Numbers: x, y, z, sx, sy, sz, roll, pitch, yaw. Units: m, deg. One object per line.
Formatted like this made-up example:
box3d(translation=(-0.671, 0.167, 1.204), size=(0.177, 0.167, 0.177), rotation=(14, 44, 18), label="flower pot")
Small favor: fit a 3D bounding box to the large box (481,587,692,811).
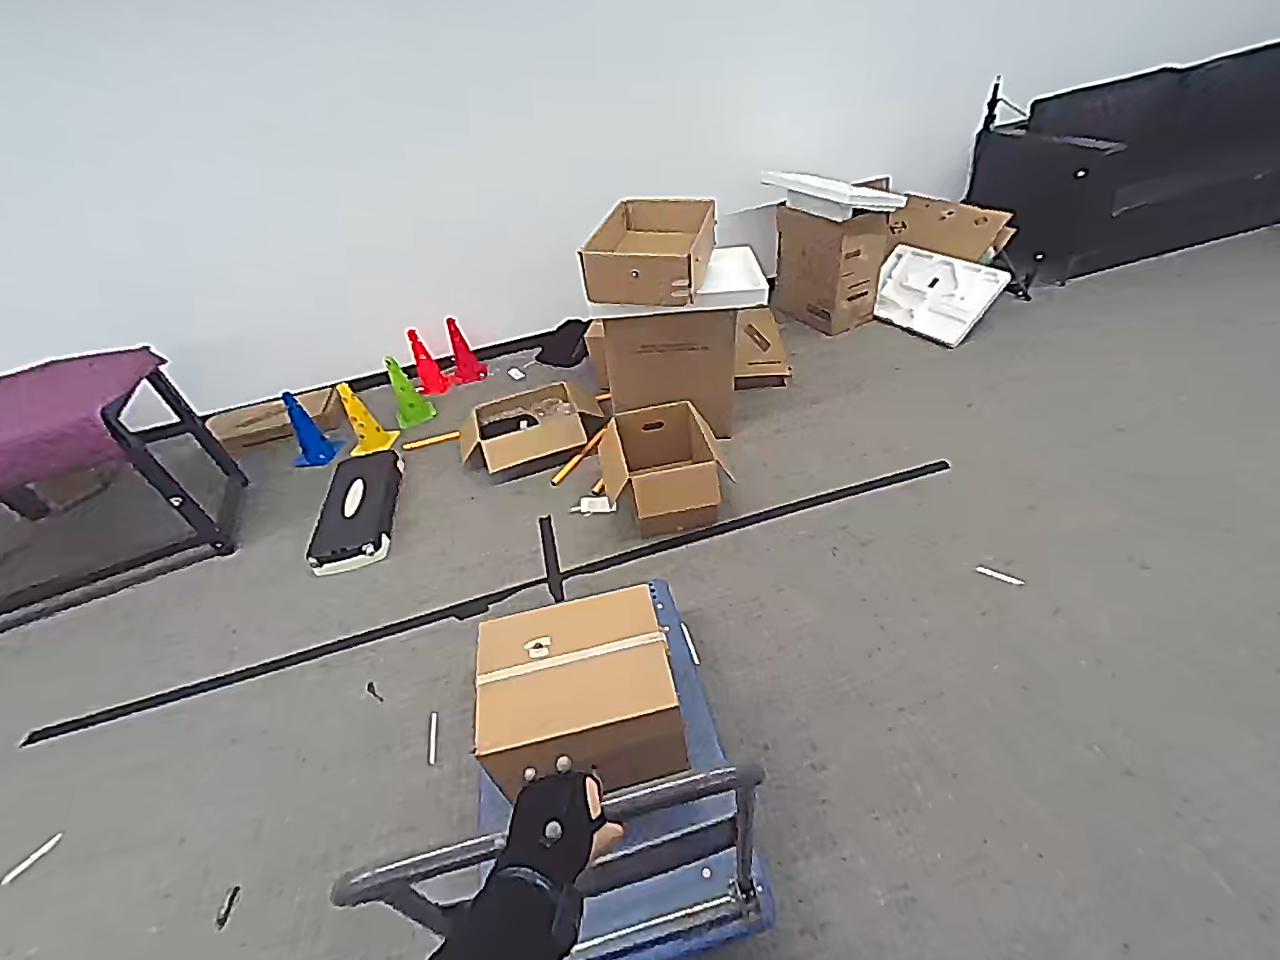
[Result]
box3d(translation=(-0.122, 0.508, 1.263), size=(0.408, 0.320, 0.320), rotation=(-14, 39, -3), label="large box")
